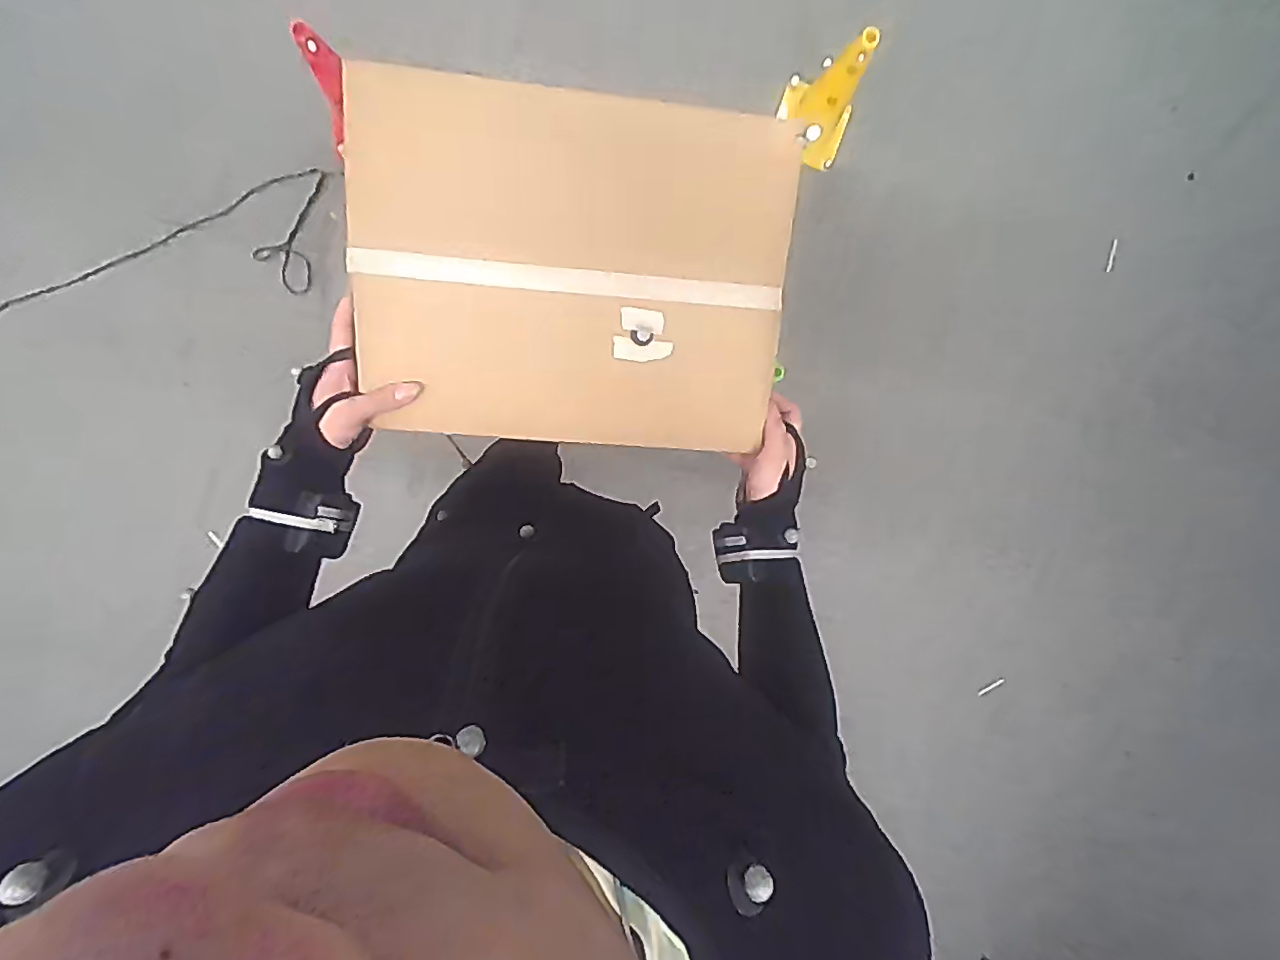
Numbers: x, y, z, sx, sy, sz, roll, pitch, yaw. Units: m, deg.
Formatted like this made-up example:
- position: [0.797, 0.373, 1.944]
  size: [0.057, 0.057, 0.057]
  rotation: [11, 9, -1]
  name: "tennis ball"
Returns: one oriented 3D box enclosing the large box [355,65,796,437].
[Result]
- position: [-0.076, -0.238, 0.664]
  size: [0.408, 0.320, 0.320]
  rotation: [3, 105, -7]
  name: "large box"
